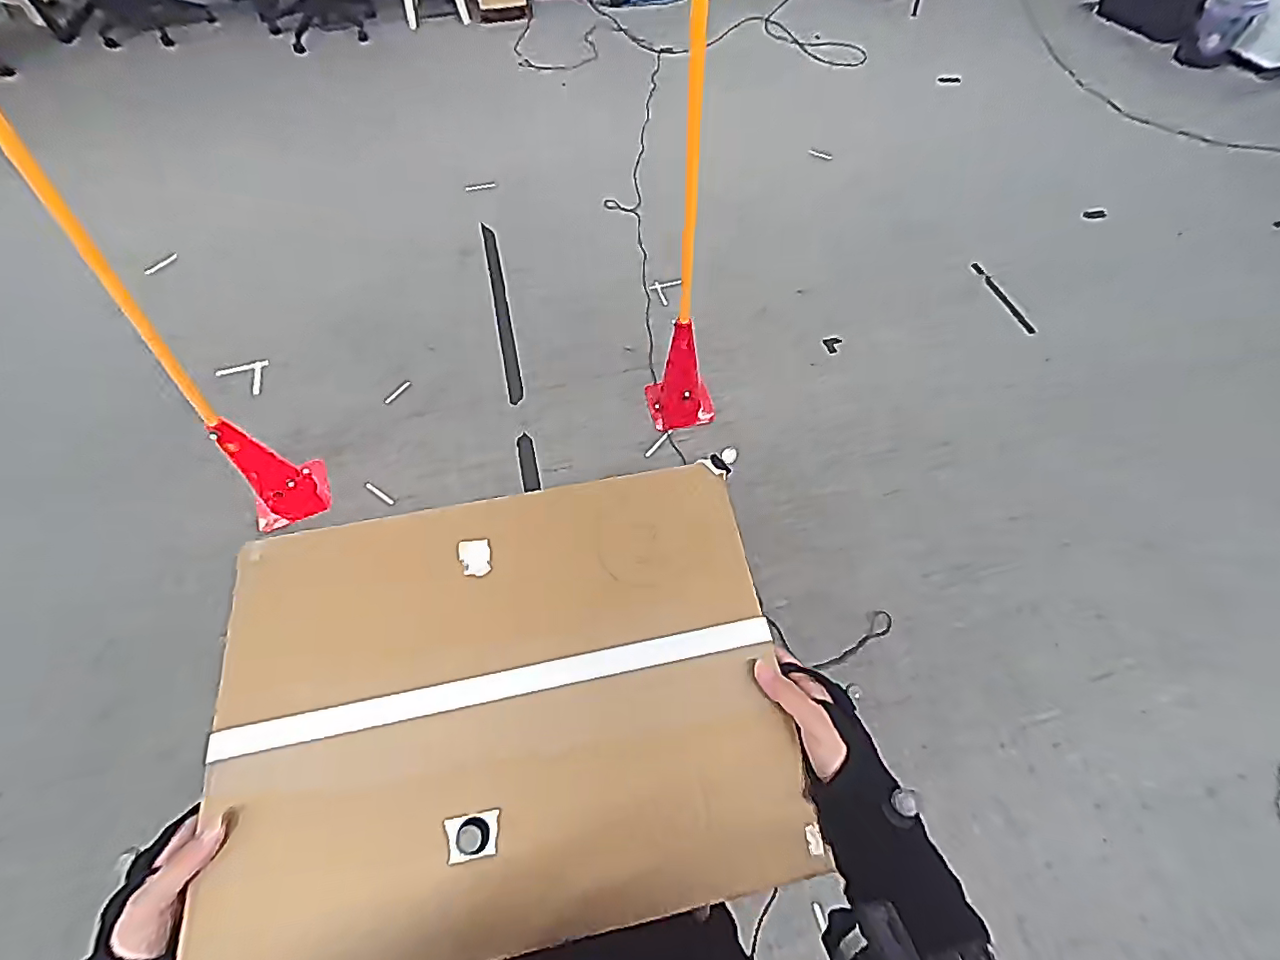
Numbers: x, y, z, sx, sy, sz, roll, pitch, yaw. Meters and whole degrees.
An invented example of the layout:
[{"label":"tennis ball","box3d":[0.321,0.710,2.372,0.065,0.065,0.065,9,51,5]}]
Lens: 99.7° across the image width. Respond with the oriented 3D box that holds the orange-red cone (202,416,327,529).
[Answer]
[{"label":"orange-red cone","box3d":[-1.037,-0.048,1.454,0.199,0.360,0.198,-22,60,-11]}]
